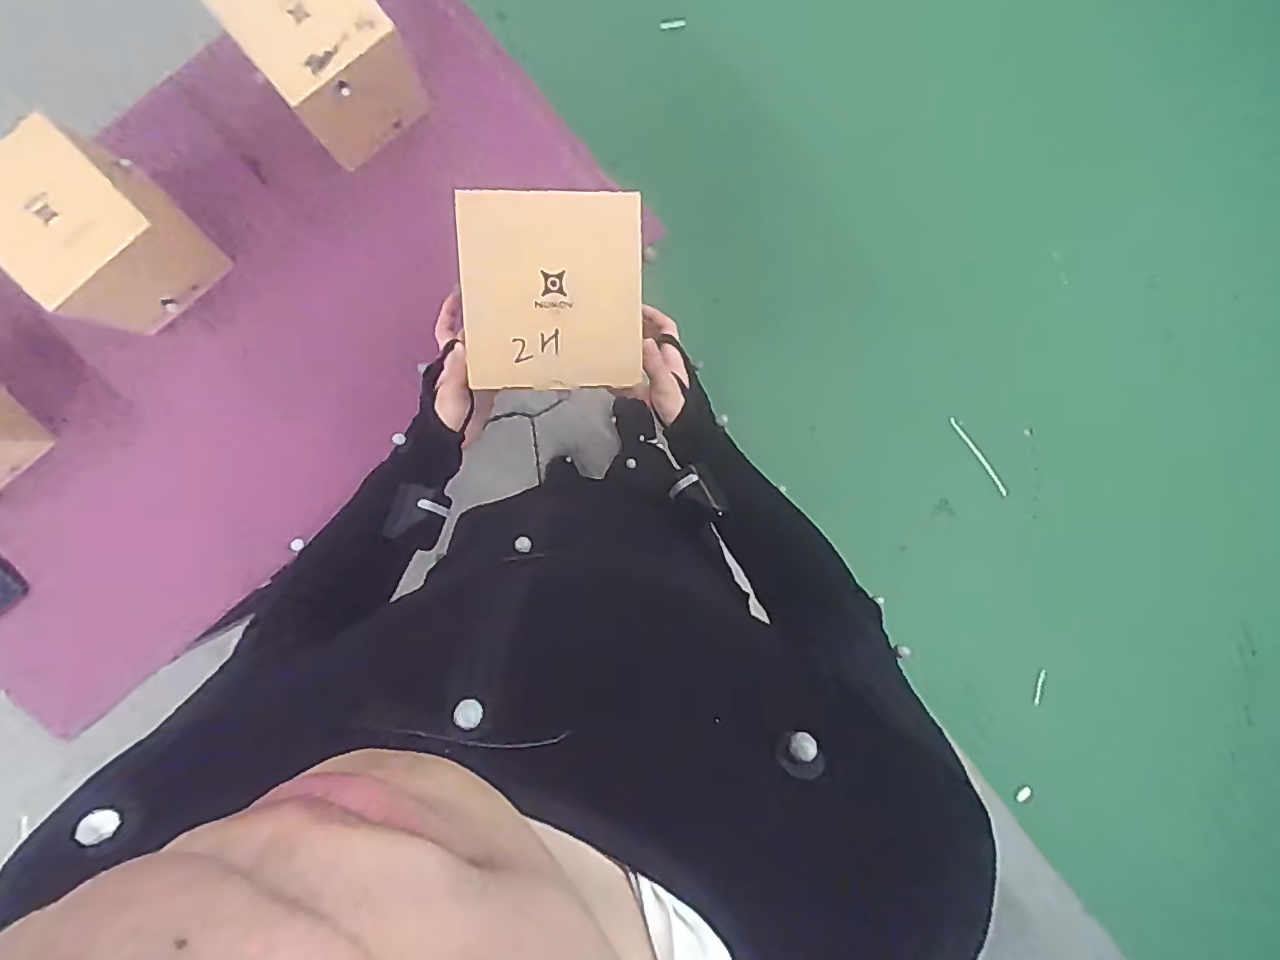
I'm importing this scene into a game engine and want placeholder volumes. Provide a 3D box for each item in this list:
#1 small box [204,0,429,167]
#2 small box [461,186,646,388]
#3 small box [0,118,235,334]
[{"bbox_3d":[-0.429,-0.583,0.743,0.168,0.176,0.179,-40,96,-1],"label":"small box"},{"bbox_3d":[-0.082,-0.188,0.572,0.168,0.176,0.179,0,102,-3],"label":"small box"},{"bbox_3d":[-0.720,-0.325,0.734,0.168,0.176,0.179,-42,97,-1],"label":"small box"}]
